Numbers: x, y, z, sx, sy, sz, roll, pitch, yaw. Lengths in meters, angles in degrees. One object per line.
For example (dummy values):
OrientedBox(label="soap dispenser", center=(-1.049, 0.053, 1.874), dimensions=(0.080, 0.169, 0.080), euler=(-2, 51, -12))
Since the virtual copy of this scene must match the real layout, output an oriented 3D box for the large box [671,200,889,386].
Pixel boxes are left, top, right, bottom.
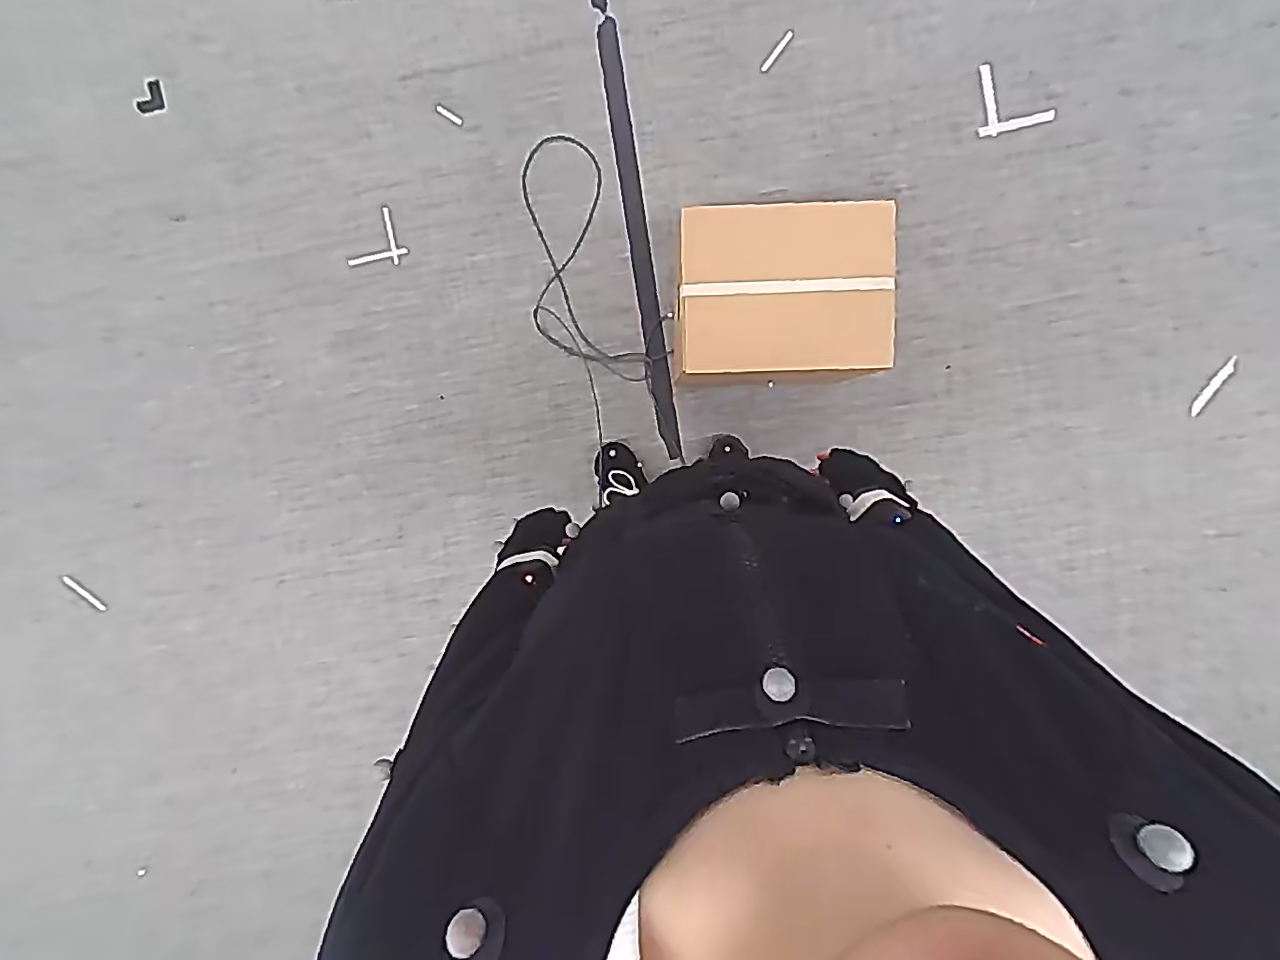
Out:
OrientedBox(label="large box", center=(0.280, -0.383, 1.188), dimensions=(0.408, 0.320, 0.320), euler=(-2, 95, 1))
